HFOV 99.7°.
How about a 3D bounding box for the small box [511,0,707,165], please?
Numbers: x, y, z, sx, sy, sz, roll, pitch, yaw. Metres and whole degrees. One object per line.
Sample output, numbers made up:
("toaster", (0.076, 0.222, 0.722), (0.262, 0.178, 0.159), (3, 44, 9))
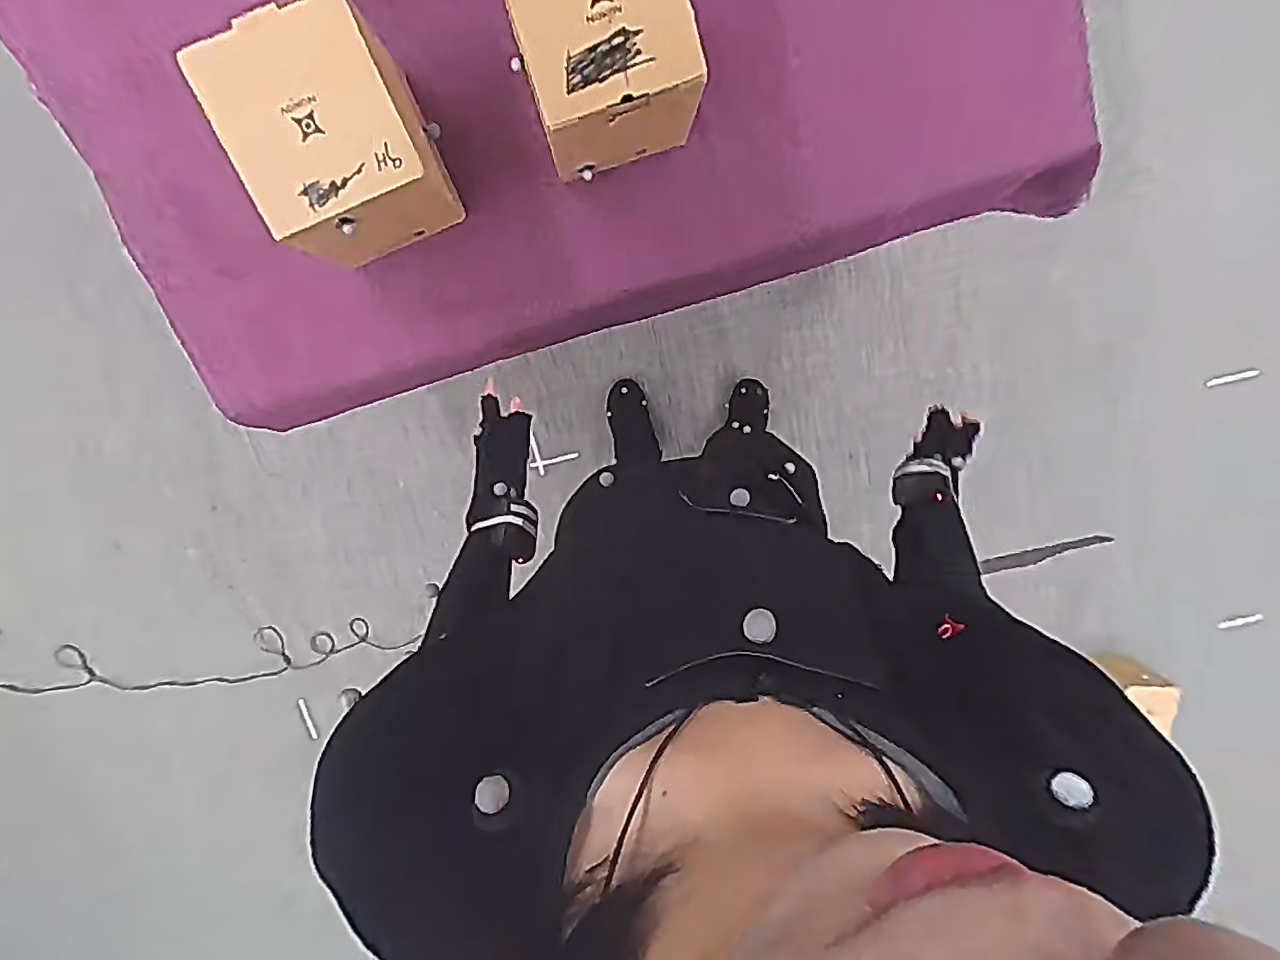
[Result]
("small box", (-0.038, -0.467, 0.580), (0.168, 0.176, 0.179), (-17, 102, 0))

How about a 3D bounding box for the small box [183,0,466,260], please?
("small box", (-0.315, -0.366, 0.584), (0.168, 0.176, 0.179), (-22, 102, 2))

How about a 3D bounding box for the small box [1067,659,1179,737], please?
("small box", (1.487, 0.669, 1.673), (0.179, 0.176, 0.168), (2, 101, -3))
